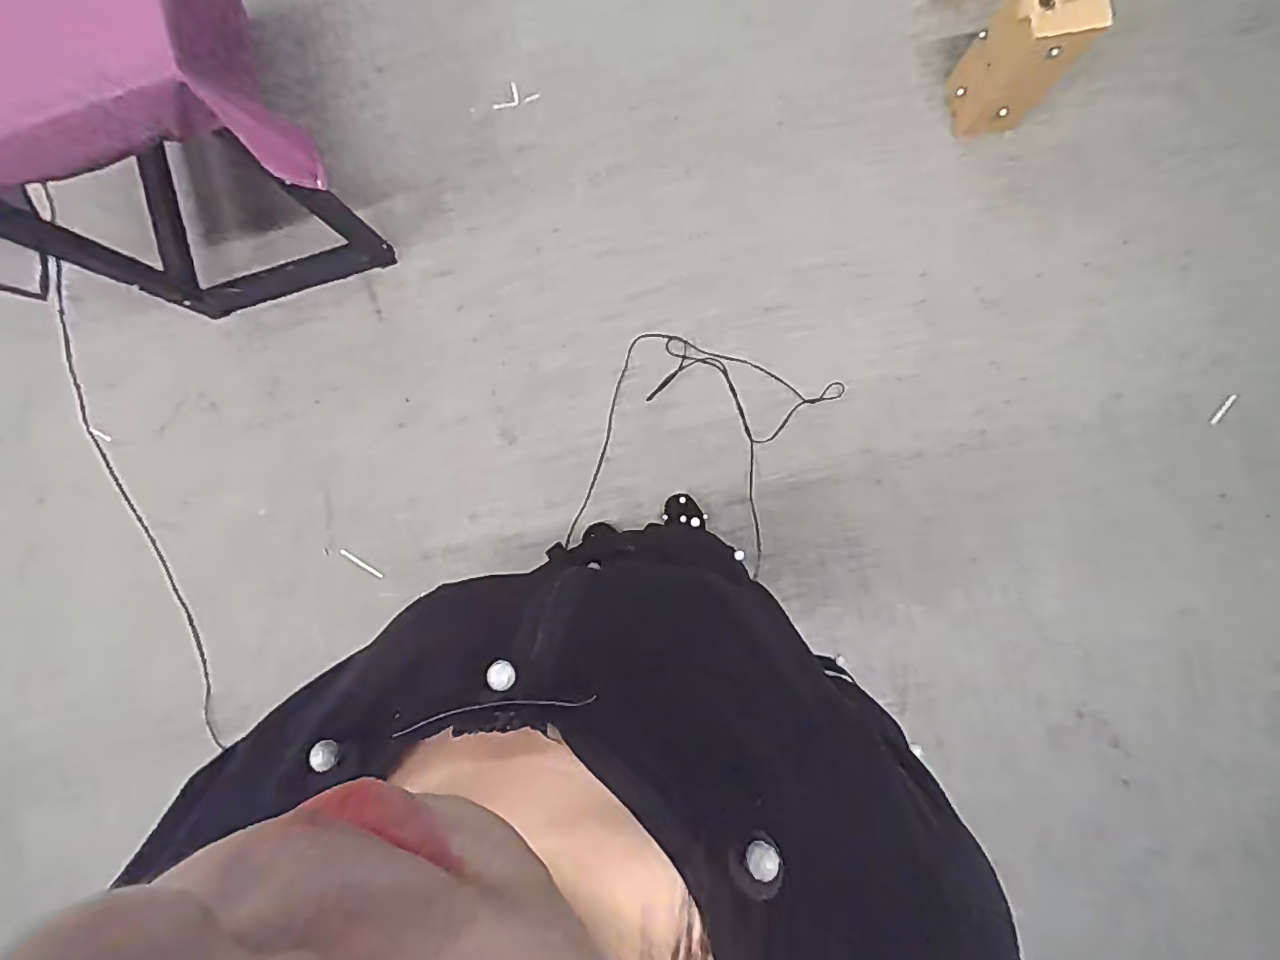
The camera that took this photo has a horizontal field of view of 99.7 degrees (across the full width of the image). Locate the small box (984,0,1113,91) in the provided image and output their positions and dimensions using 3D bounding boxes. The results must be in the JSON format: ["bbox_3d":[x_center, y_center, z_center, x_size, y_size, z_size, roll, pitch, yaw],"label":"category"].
[{"bbox_3d":[0.936,-1.049,1.260,0.179,0.176,0.168,-8,88,2],"label":"small box"}]

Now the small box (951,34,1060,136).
[{"bbox_3d":[0.949,-1.044,1.424,0.179,0.176,0.168,-9,89,3],"label":"small box"}]
